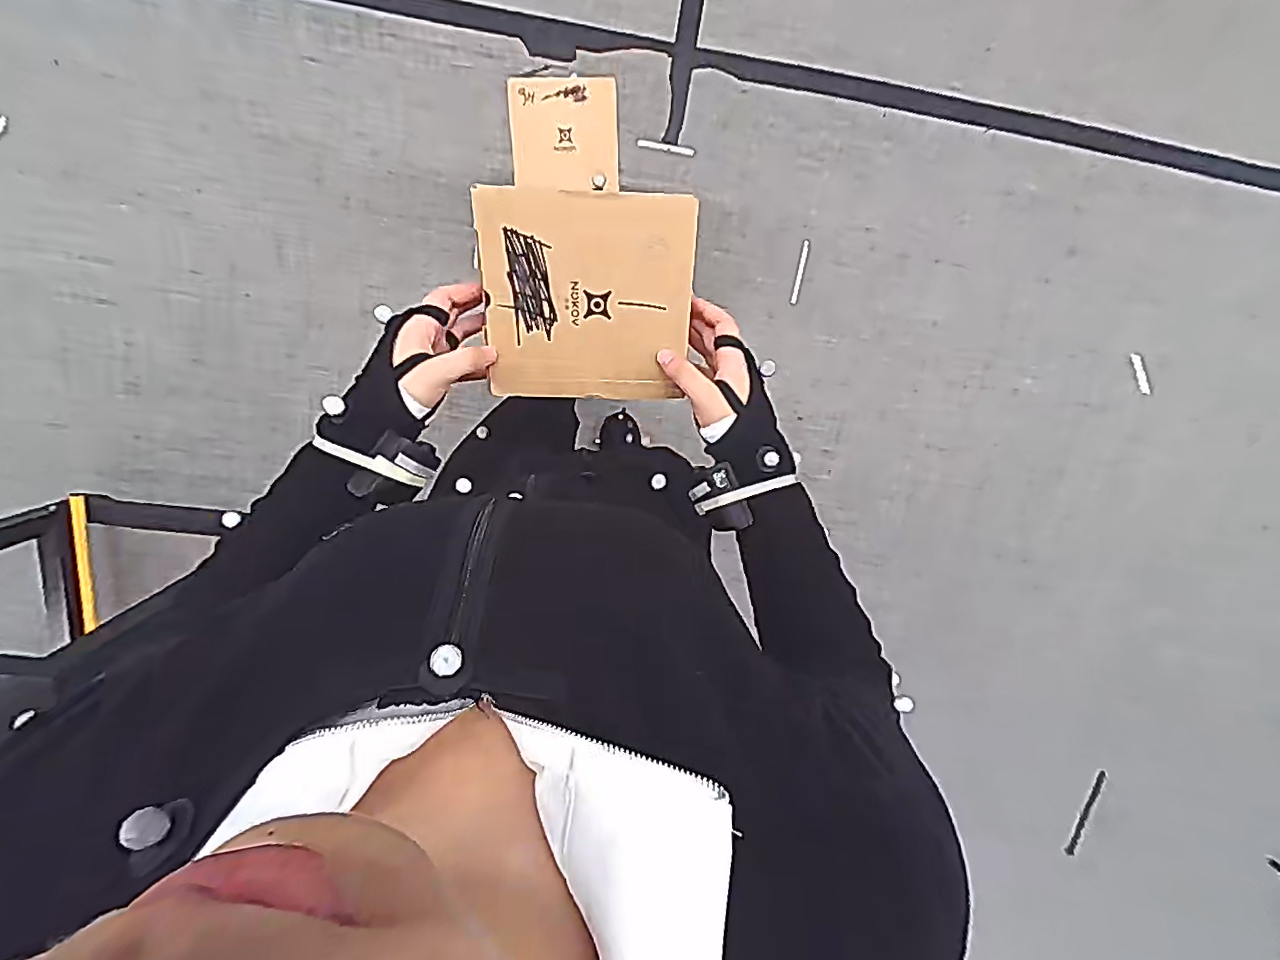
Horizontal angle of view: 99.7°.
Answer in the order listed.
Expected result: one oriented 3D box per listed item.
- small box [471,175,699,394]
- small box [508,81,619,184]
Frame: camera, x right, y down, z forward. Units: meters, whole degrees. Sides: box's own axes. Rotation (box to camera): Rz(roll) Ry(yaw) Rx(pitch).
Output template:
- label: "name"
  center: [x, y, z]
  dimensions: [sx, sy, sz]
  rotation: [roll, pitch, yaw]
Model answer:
- label: "small box"
  center: [-0.048, -0.188, 0.515]
  dimensions: [0.179, 0.176, 0.168]
  rotation: [1, 118, -4]
- label: "small box"
  center: [-0.119, -0.536, 0.910]
  dimensions: [0.168, 0.176, 0.179]
  rotation: [-1, 105, -2]
